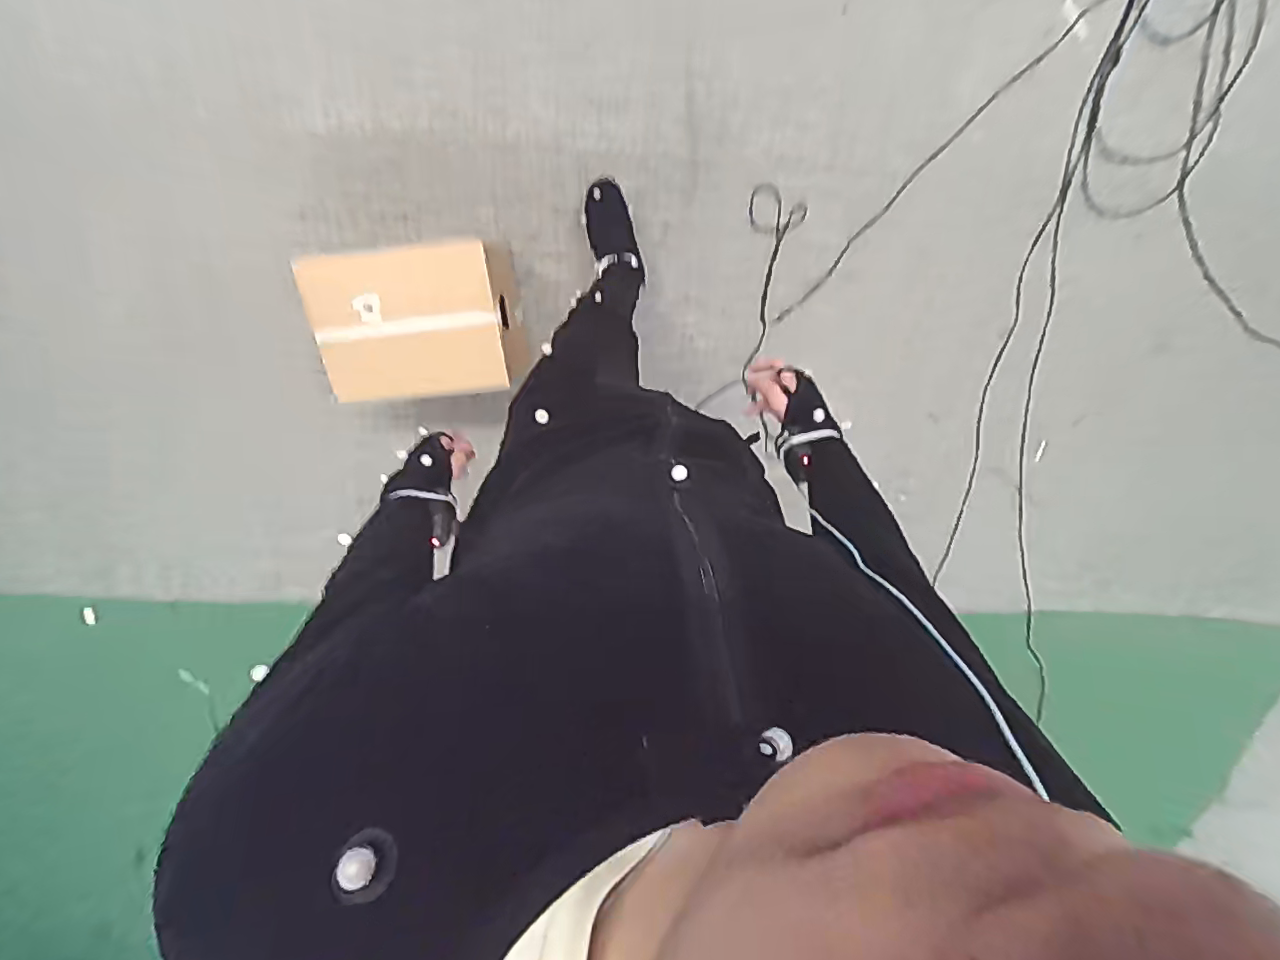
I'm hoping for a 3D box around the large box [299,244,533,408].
[{"bbox_3d":[-0.509,-0.387,1.324,0.408,0.320,0.320,-6,112,1],"label":"large box"}]
